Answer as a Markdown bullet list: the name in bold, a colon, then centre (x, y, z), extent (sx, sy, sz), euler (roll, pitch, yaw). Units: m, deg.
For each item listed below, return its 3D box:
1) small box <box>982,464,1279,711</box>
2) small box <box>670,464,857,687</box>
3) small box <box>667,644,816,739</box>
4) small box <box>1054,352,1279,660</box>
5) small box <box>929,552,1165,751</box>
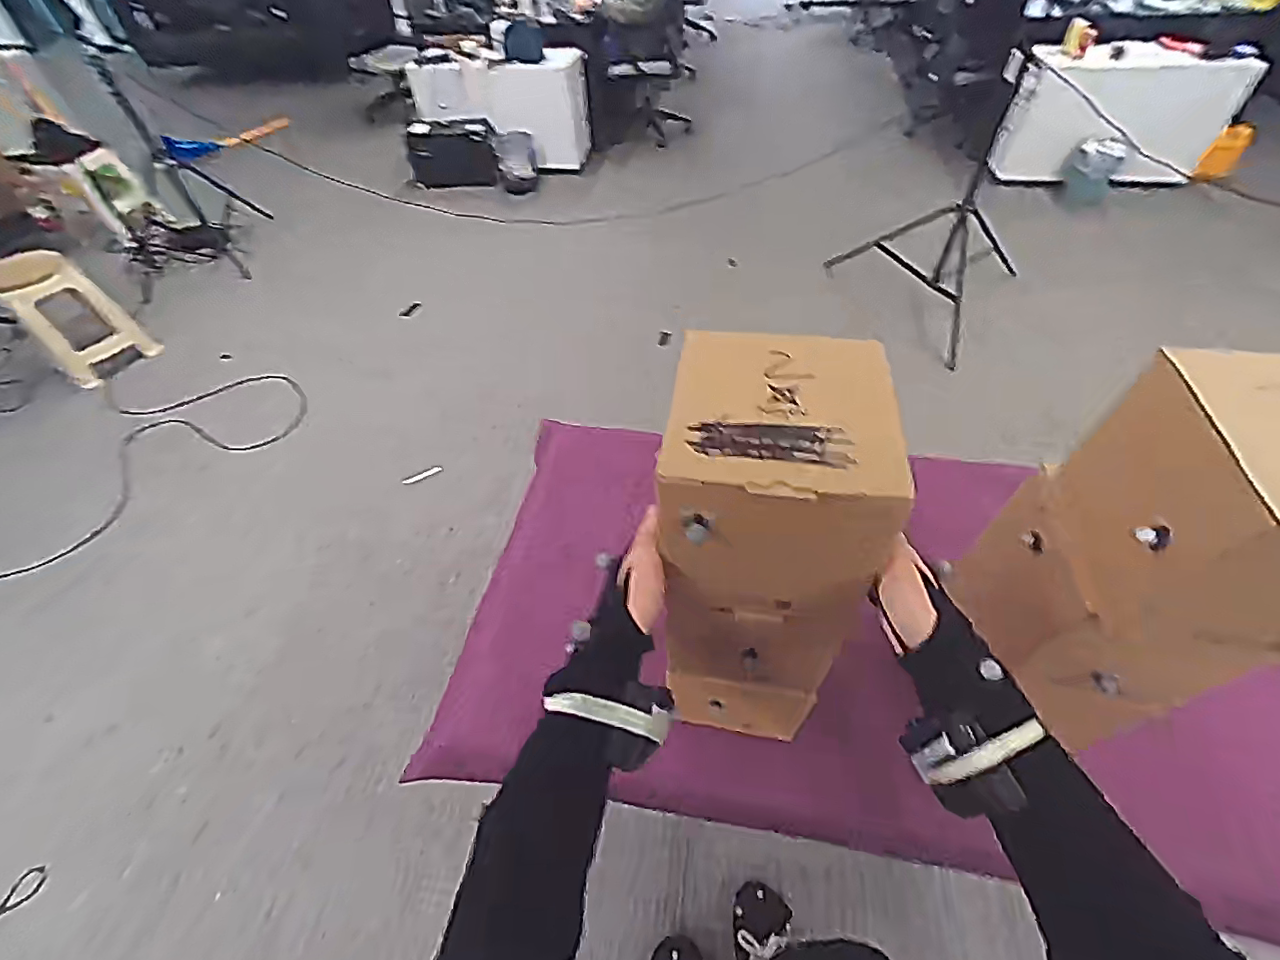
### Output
- **small box**: centre (0.485, 0.112, 0.561), extent (0.168, 0.176, 0.179), euler (8, 52, 10)
- **small box**: centre (0.125, 0.106, 0.587), extent (0.168, 0.176, 0.179), euler (5, 50, 7)
- **small box**: centre (0.132, 0.217, 0.707), extent (0.168, 0.176, 0.179), euler (7, 50, 9)
- **small box**: centre (0.476, 0.025, 0.422), extent (0.168, 0.176, 0.179), euler (7, 50, 7)
- **small box**: centre (0.488, 0.220, 0.685), extent (0.168, 0.176, 0.179), euler (9, 51, 10)
